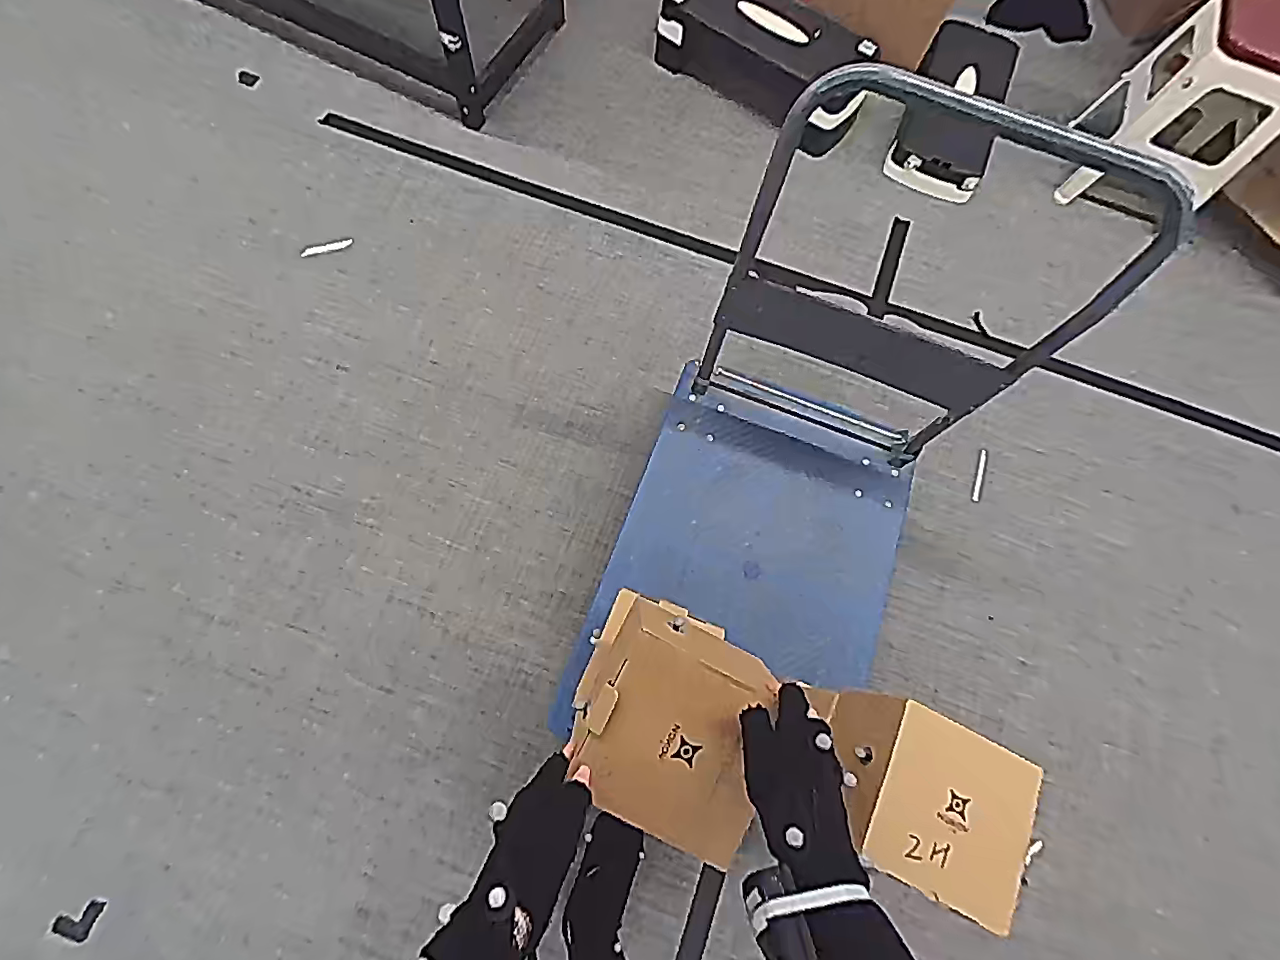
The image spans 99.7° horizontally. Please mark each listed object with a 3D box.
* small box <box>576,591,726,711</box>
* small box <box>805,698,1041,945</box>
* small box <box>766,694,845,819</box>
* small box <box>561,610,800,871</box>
[{"bbox_3d":[0.011,0.290,0.824,0.168,0.176,0.179,23,71,3],"label":"small box"},{"bbox_3d":[0.324,0.382,0.649,0.168,0.176,0.179,28,72,4],"label":"small box"},{"bbox_3d":[0.308,0.434,0.805,0.179,0.176,0.168,27,72,3],"label":"small box"},{"bbox_3d":[0.036,0.257,0.585,0.179,0.176,0.168,28,88,-1],"label":"small box"}]
